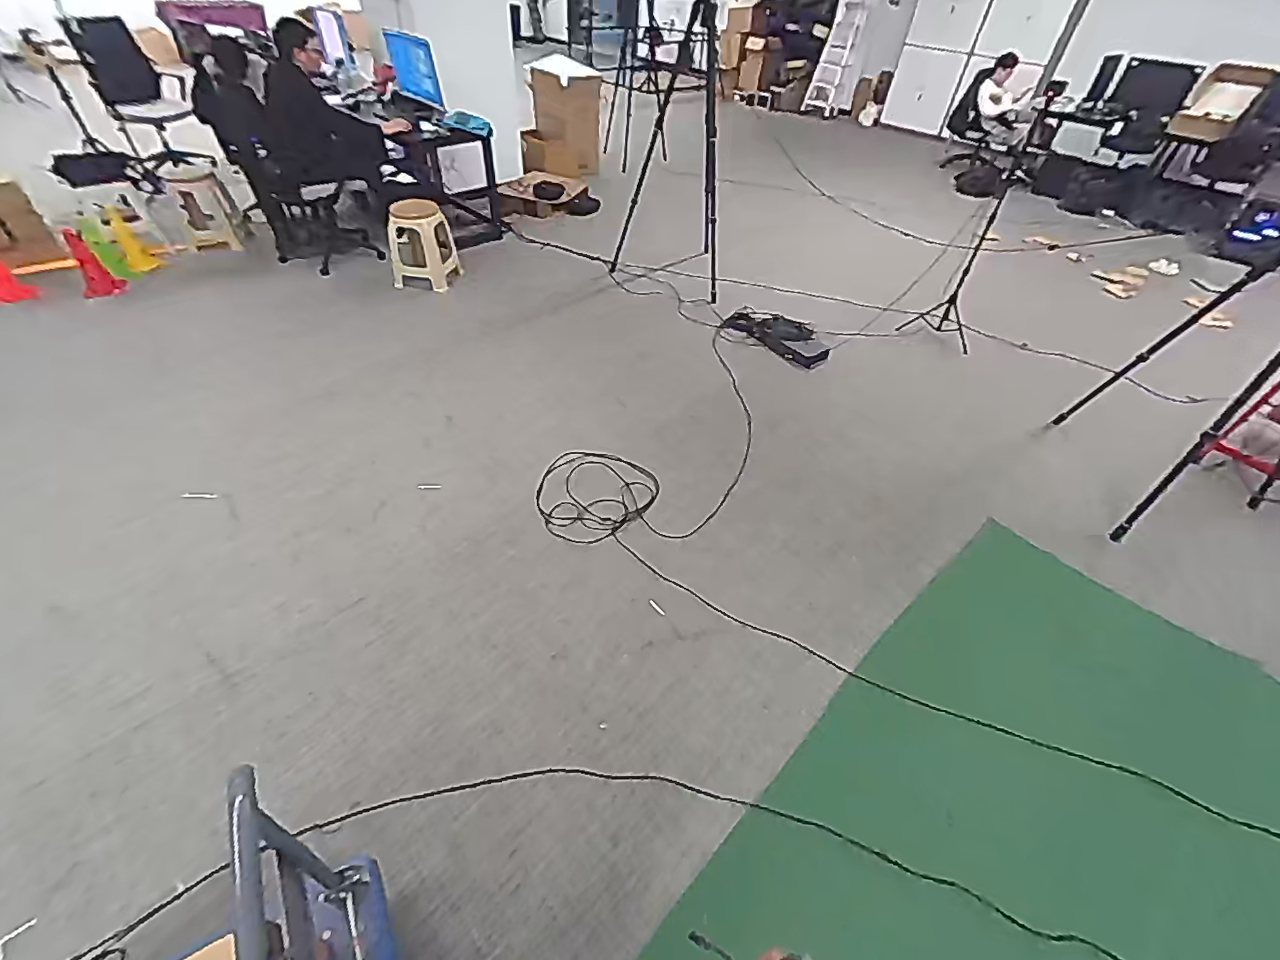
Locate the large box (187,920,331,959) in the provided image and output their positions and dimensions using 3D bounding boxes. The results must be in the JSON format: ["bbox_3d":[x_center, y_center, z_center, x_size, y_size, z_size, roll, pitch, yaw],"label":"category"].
[{"bbox_3d":[-0.713,0.979,0.821,0.408,0.320,0.320,-21,49,-23],"label":"large box"}]
